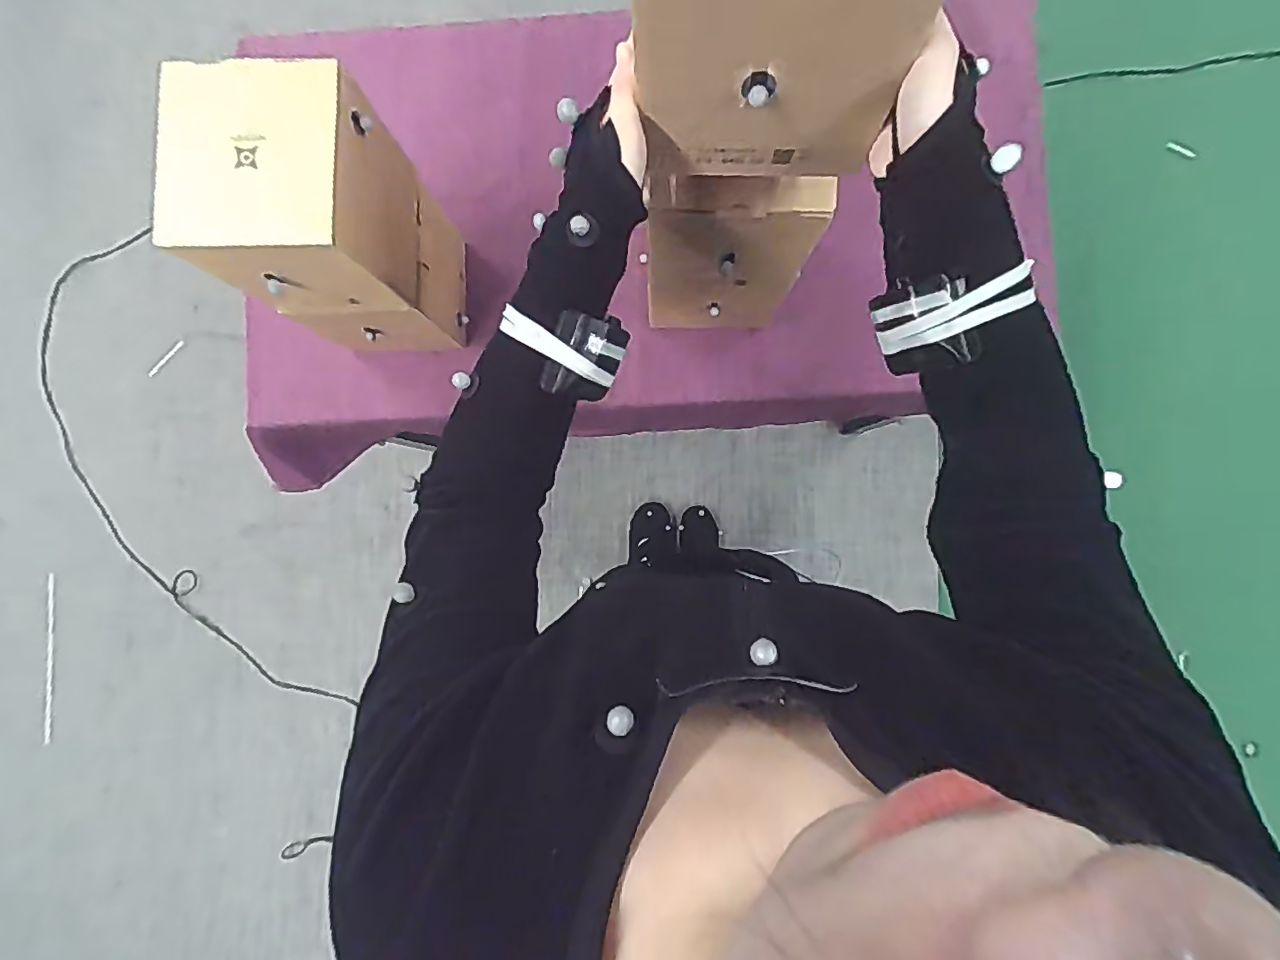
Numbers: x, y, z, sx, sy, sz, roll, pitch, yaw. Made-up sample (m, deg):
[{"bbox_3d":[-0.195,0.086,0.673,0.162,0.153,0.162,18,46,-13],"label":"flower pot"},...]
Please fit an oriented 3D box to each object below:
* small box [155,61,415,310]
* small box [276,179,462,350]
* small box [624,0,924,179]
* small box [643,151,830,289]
[{"bbox_3d":[-0.352,-0.289,0.568,0.168,0.176,0.179,0,86,1],"label":"small box"},{"bbox_3d":[-0.351,-0.279,0.731,0.179,0.176,0.168,-1,87,2],"label":"small box"},{"bbox_3d":[0.081,-0.327,0.351,0.168,0.176,0.179,3,80,3],"label":"small box"},{"bbox_3d":[0.093,-0.312,0.558,0.168,0.176,0.179,3,88,2],"label":"small box"}]
